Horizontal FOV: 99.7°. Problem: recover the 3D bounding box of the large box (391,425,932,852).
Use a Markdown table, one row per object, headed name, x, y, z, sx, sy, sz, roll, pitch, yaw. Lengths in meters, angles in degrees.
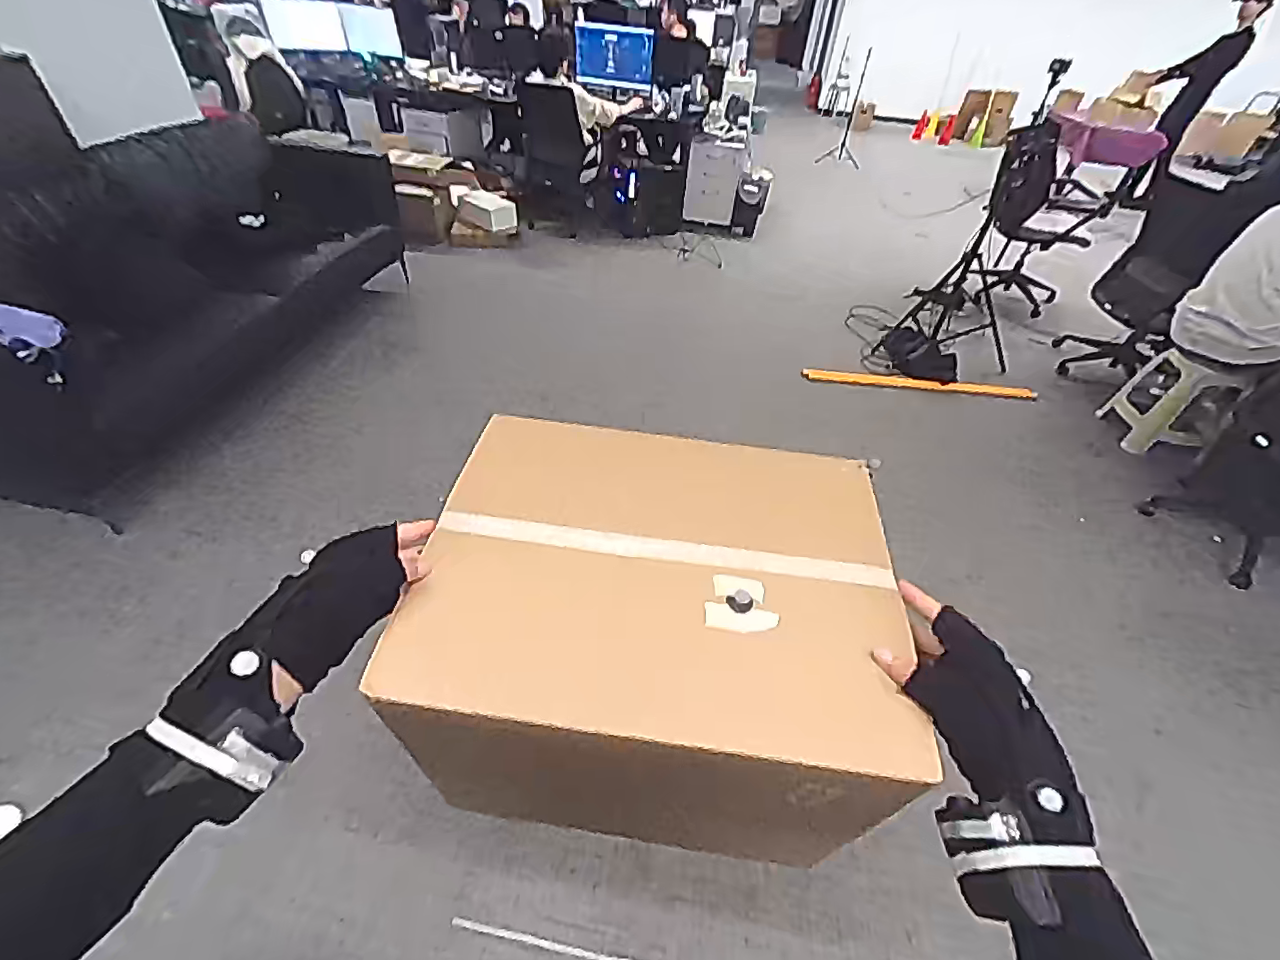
| name | x | y | z | sx | sy | sz | roll | pitch | yaw |
| --- | --- | --- | --- | --- | --- | --- | --- | --- | --- |
| large box | 0.017 | 0.173 | 0.595 | 0.408 | 0.320 | 0.320 | 8 | 46 | 2 |
